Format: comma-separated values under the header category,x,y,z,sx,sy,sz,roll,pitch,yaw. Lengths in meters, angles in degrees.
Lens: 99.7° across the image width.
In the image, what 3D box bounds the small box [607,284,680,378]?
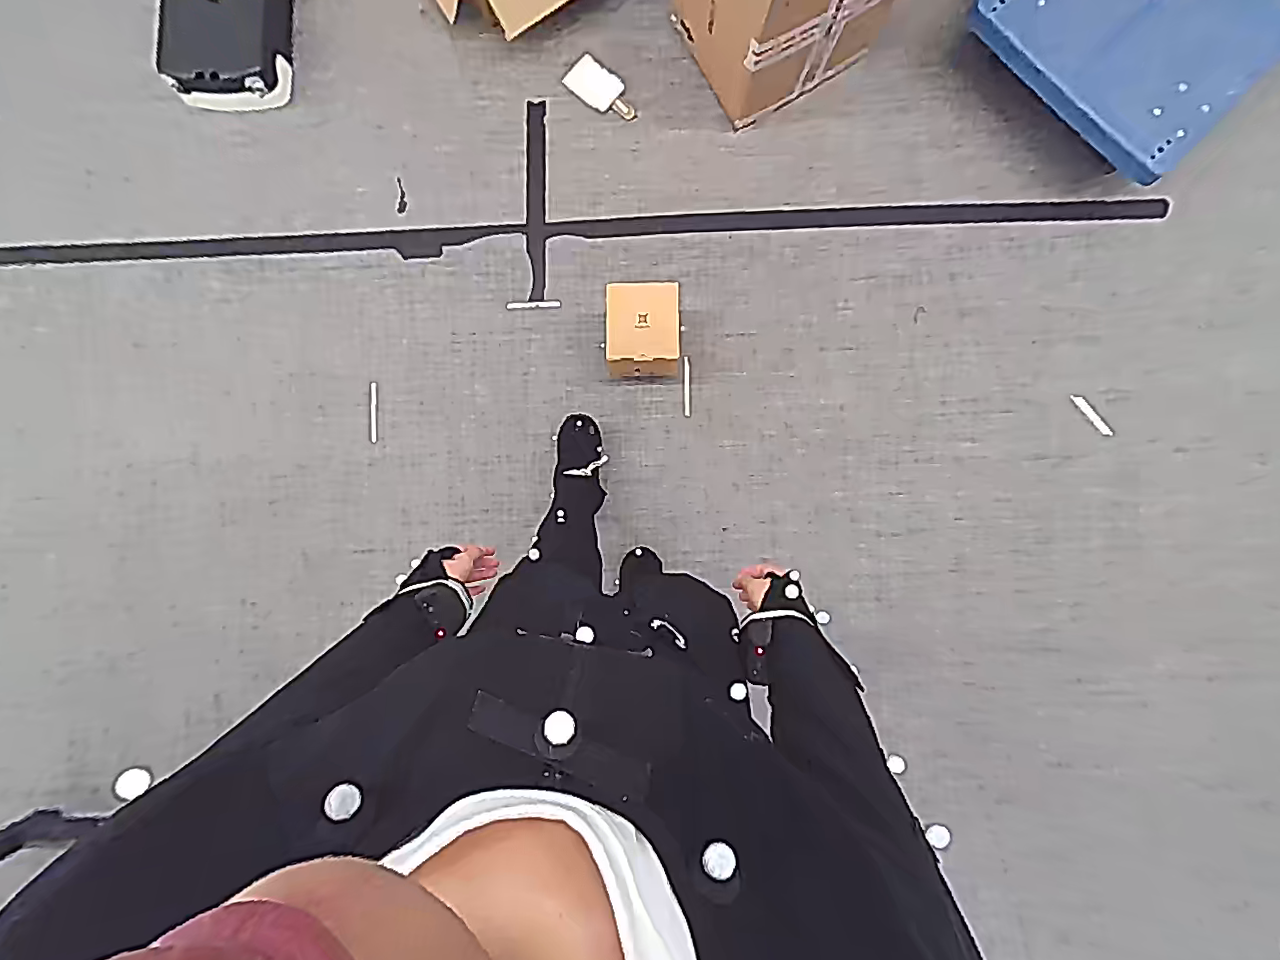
category,x,y,z,sx,sy,sz,roll,pitch,yaw
small box,0.006,-0.349,1.289,0.168,0.176,0.179,-1,89,0
